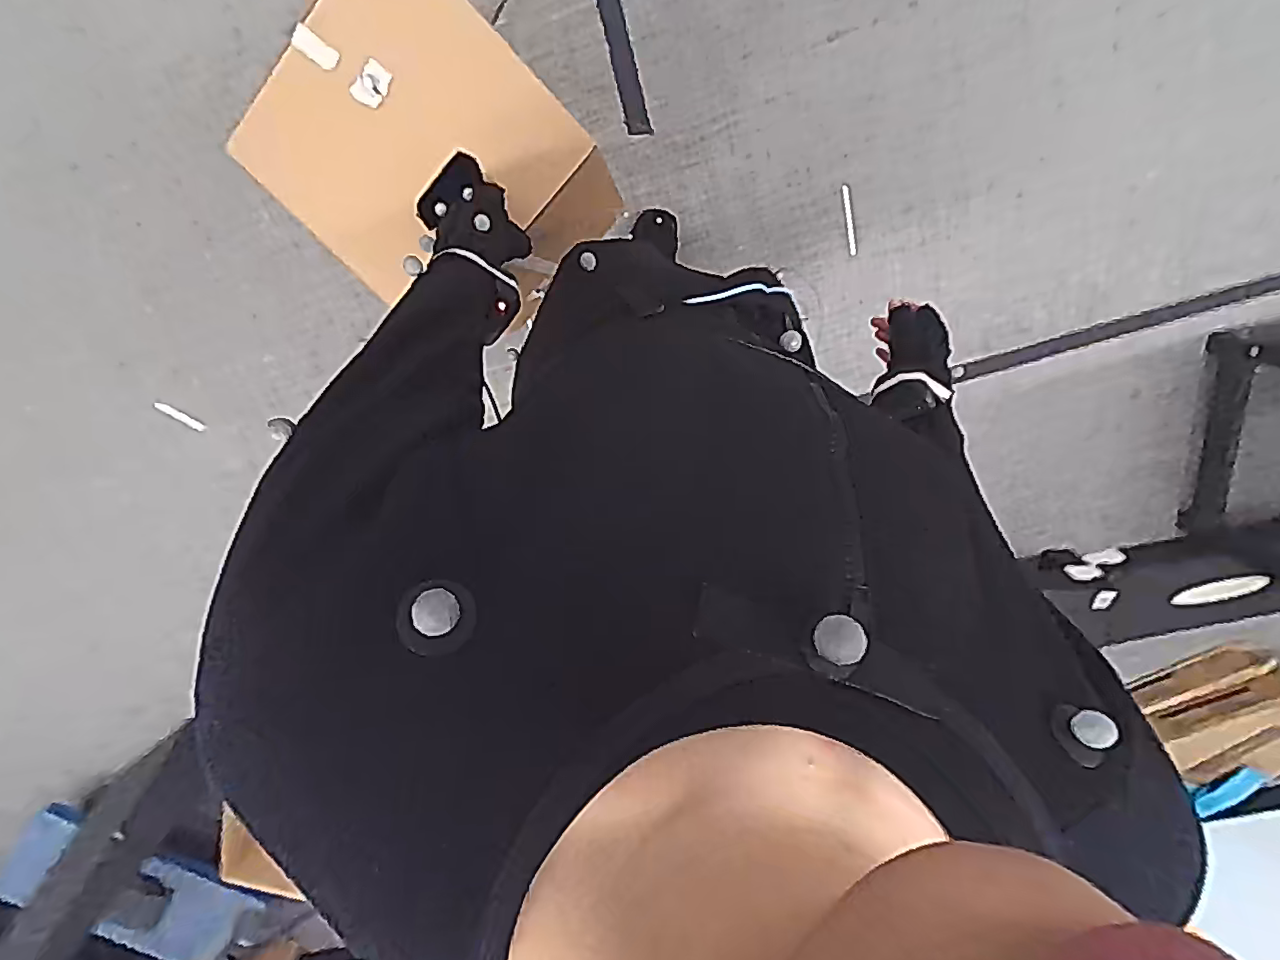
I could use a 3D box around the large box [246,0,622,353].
[{"bbox_3d":[-0.257,-0.430,0.815,0.320,0.408,0.320,44,106,-11],"label":"large box"}]
